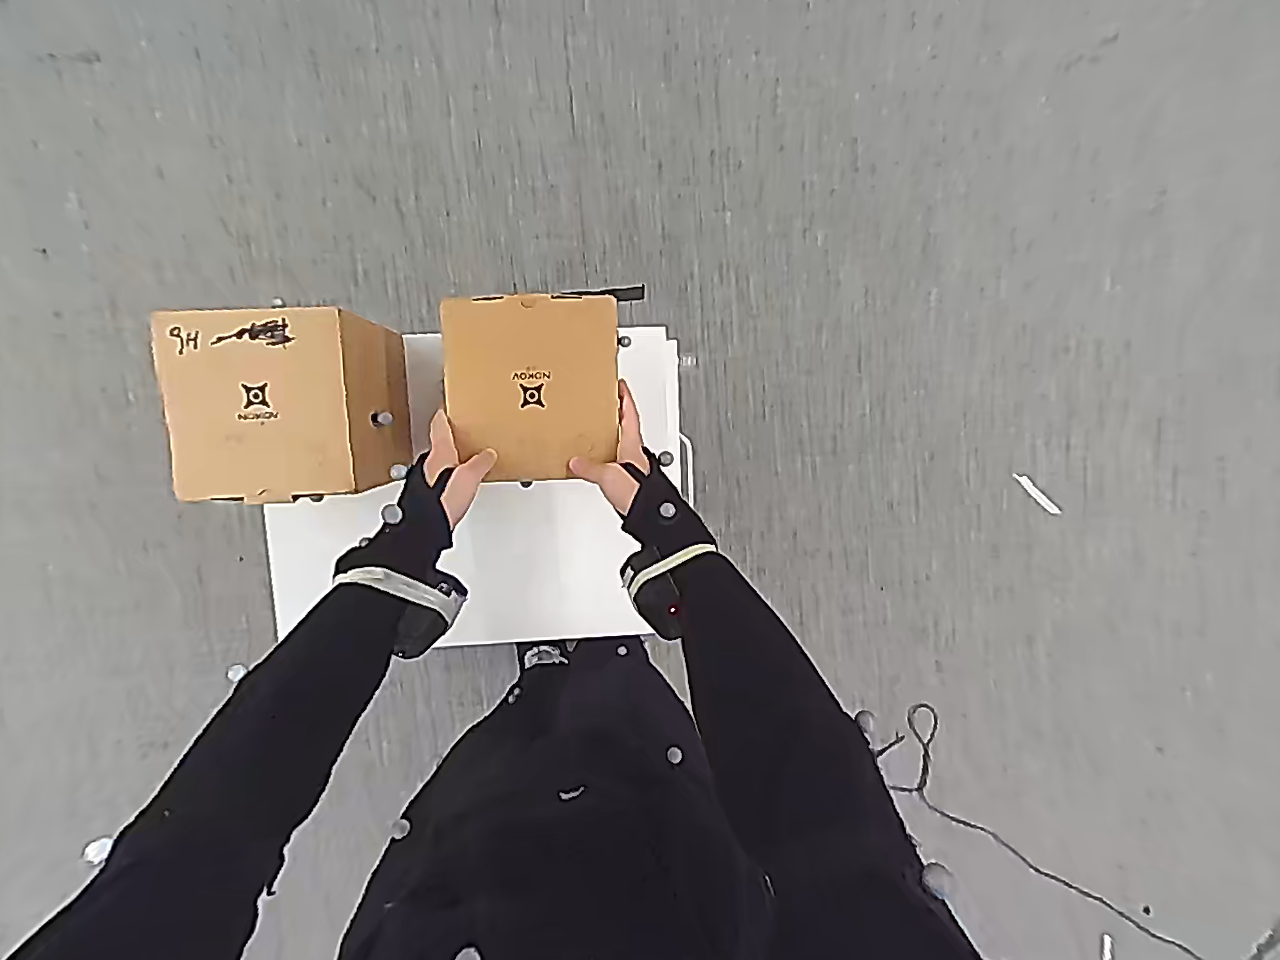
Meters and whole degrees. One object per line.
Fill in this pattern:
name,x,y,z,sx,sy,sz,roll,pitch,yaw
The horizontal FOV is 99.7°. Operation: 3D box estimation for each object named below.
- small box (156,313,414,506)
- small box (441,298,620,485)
small box,-0.357,-0.076,0.582,0.168,0.176,0.179,-3,98,-5
small box,-0.106,-0.094,0.598,0.168,0.176,0.179,-3,96,-3
